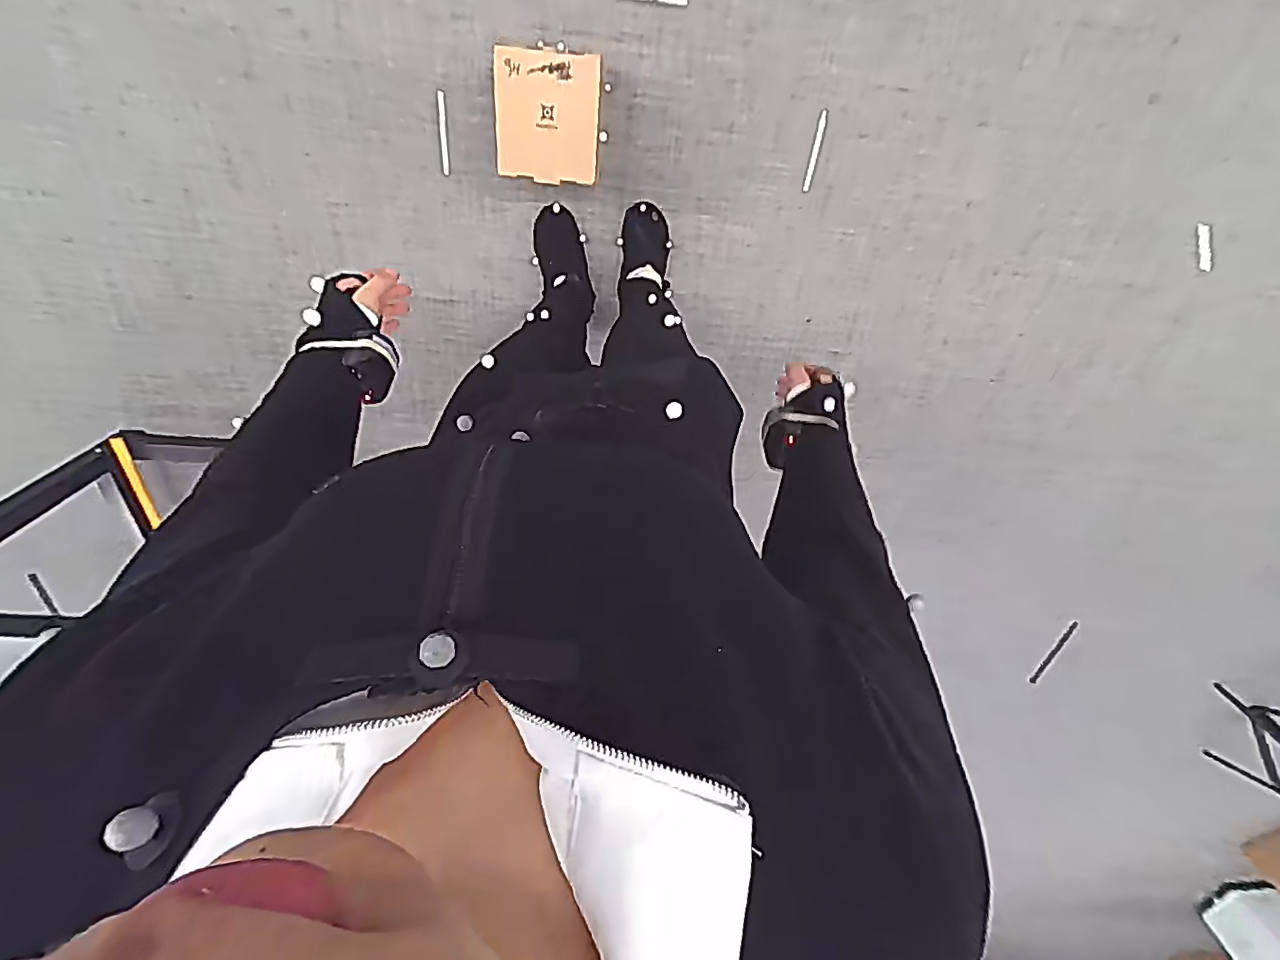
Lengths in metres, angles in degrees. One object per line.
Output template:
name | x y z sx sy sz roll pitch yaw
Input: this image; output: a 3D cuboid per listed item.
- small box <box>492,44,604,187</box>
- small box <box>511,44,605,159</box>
small box | -0.151 -0.621 0.930 0.168 0.176 0.179 5 124 -4
small box | -0.157 -0.726 1.058 0.168 0.176 0.179 4 124 -3
